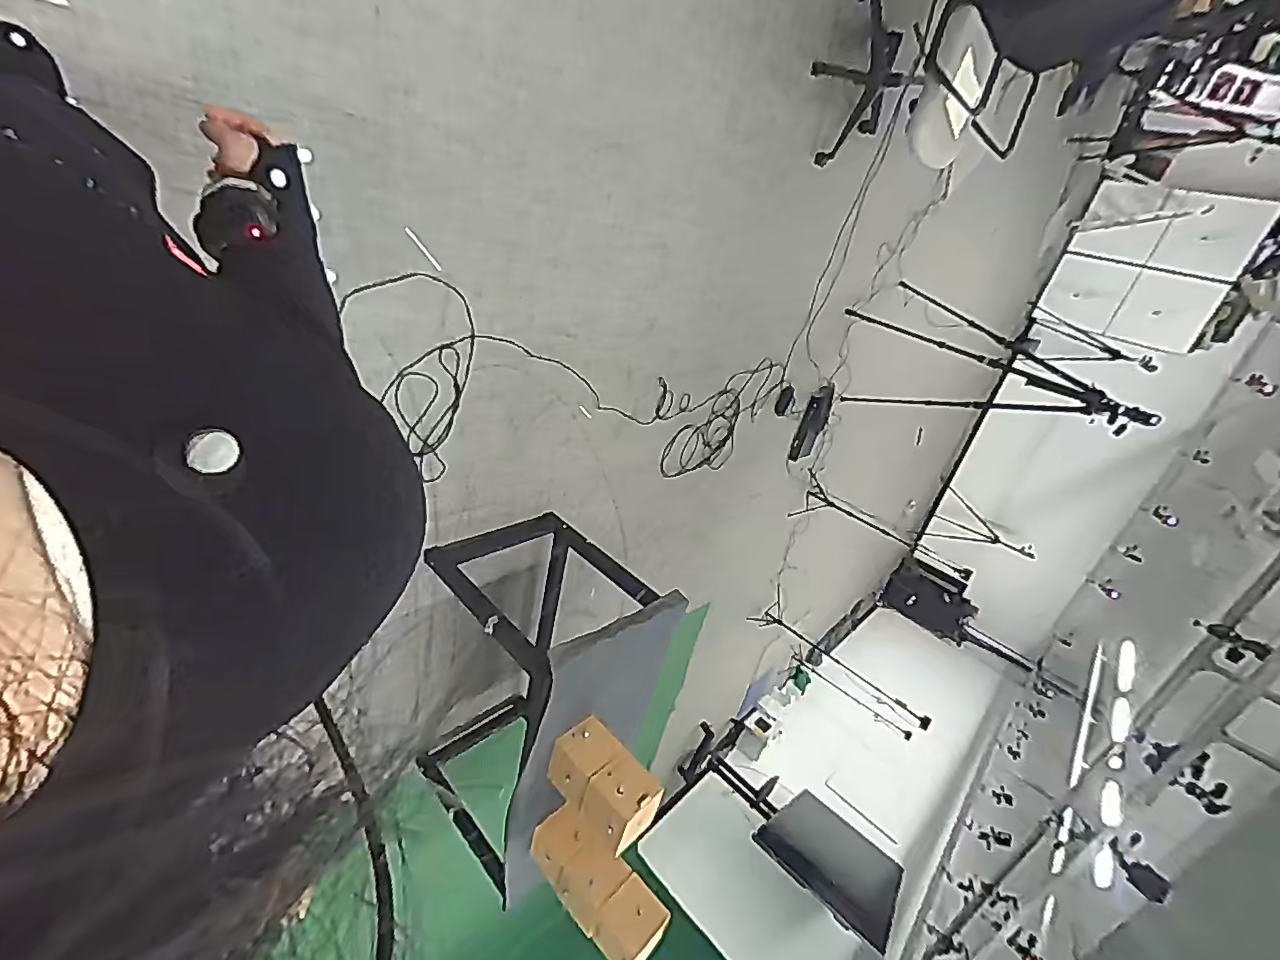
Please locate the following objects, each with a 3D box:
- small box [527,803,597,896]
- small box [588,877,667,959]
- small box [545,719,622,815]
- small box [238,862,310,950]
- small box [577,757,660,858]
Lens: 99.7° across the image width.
[{"bbox_3d":[-0.280,1.303,1.921,0.179,0.176,0.168,-17,129,-47],"label":"small box"},{"bbox_3d":[-0.042,1.443,1.742,0.179,0.176,0.168,-21,131,-45],"label":"small box"},{"bbox_3d":[-0.186,0.911,1.730,0.168,0.176,0.179,-16,127,-47],"label":"small box"},{"bbox_3d":[-1.387,1.592,2.042,0.168,0.176,0.179,7,110,-53],"label":"small box"},{"bbox_3d":[-0.070,0.979,1.639,0.168,0.176,0.179,-13,127,-47],"label":"small box"}]
